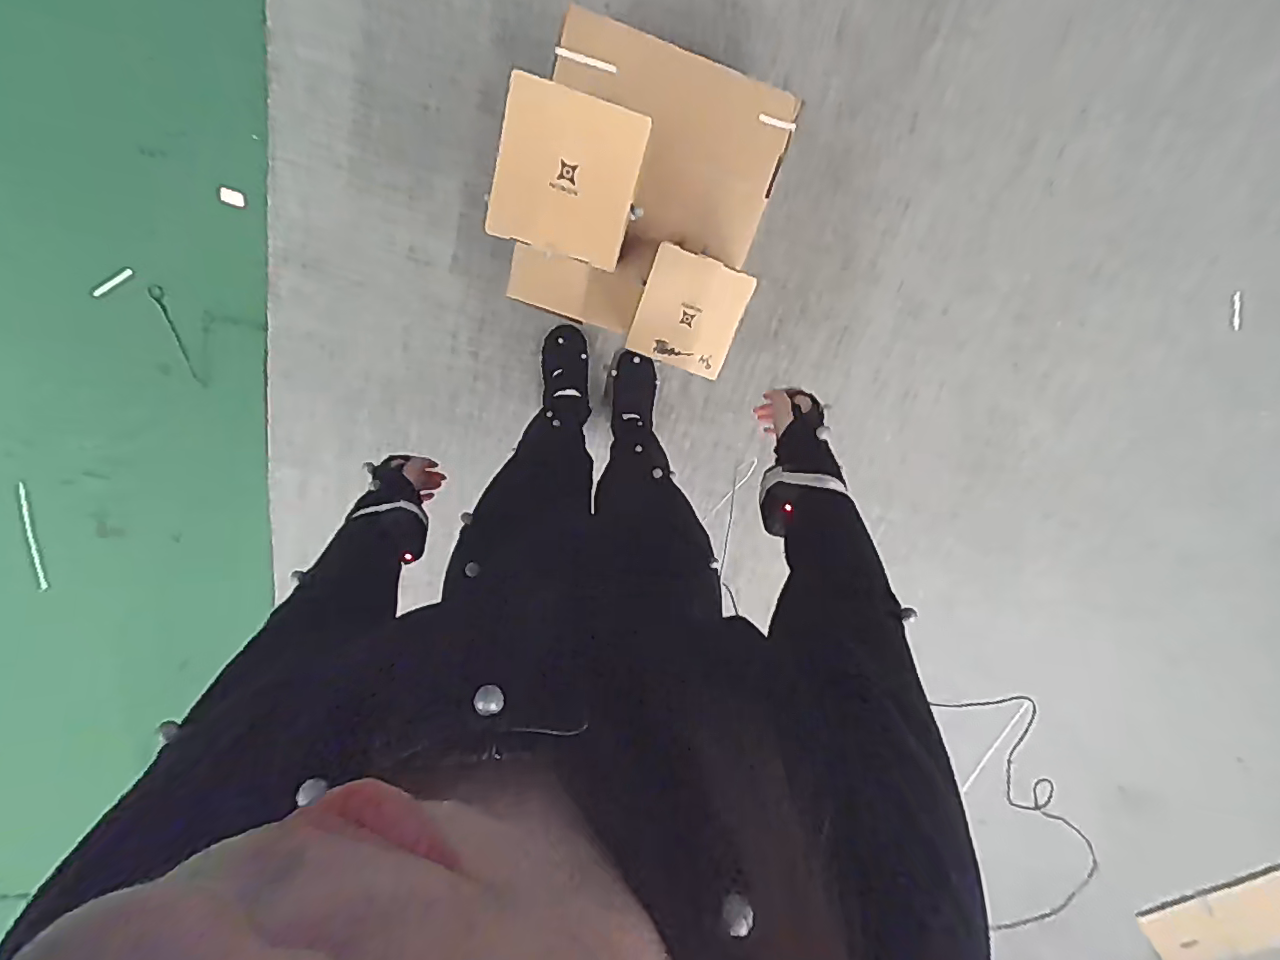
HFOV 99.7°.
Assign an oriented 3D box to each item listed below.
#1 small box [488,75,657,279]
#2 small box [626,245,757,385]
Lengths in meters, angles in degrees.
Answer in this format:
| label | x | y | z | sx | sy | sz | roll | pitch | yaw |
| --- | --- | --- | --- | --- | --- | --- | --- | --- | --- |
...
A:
| label | x | y | z | sx | sy | sz | roll | pitch | yaw |
| --- | --- | --- | --- | --- | --- | --- | --- | --- | --- |
| small box | -0.086 | -0.385 | 0.716 | 0.168 | 0.176 | 0.179 | 17 | 113 | -8 |
| small box | 0.077 | -0.288 | 0.936 | 0.168 | 0.176 | 0.179 | 18 | 110 | -9 |
